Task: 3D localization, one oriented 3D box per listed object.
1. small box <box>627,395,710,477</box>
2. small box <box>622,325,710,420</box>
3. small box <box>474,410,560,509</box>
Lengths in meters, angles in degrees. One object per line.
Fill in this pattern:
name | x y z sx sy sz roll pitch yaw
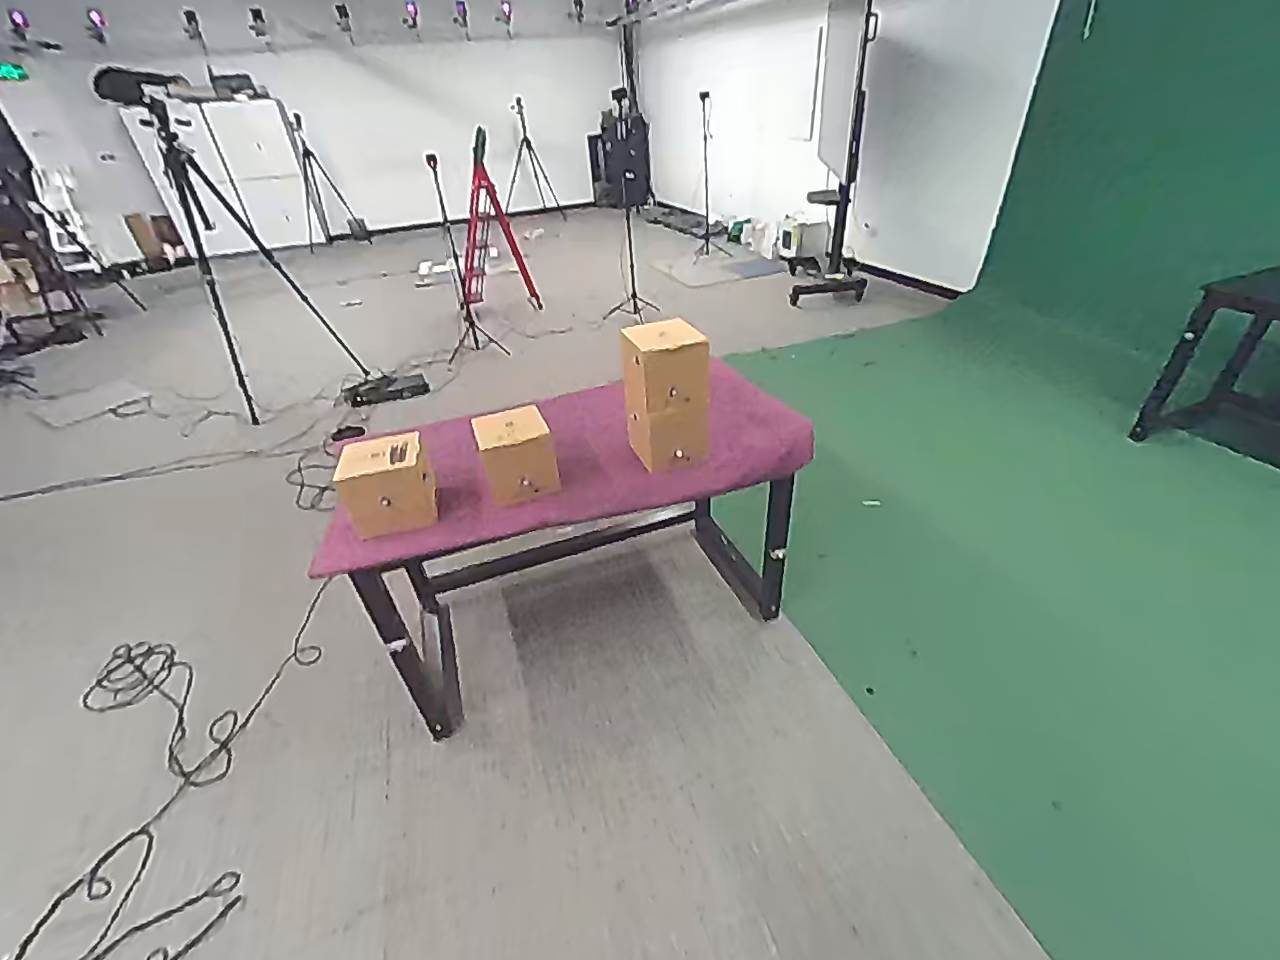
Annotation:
small box | 0.072 -0.132 1.428 0.168 0.176 0.179 -15 36 -14
small box | 0.062 -0.269 1.341 0.168 0.176 0.179 -15 36 -15
small box | -0.307 -0.053 1.351 0.168 0.176 0.179 -16 35 -16
